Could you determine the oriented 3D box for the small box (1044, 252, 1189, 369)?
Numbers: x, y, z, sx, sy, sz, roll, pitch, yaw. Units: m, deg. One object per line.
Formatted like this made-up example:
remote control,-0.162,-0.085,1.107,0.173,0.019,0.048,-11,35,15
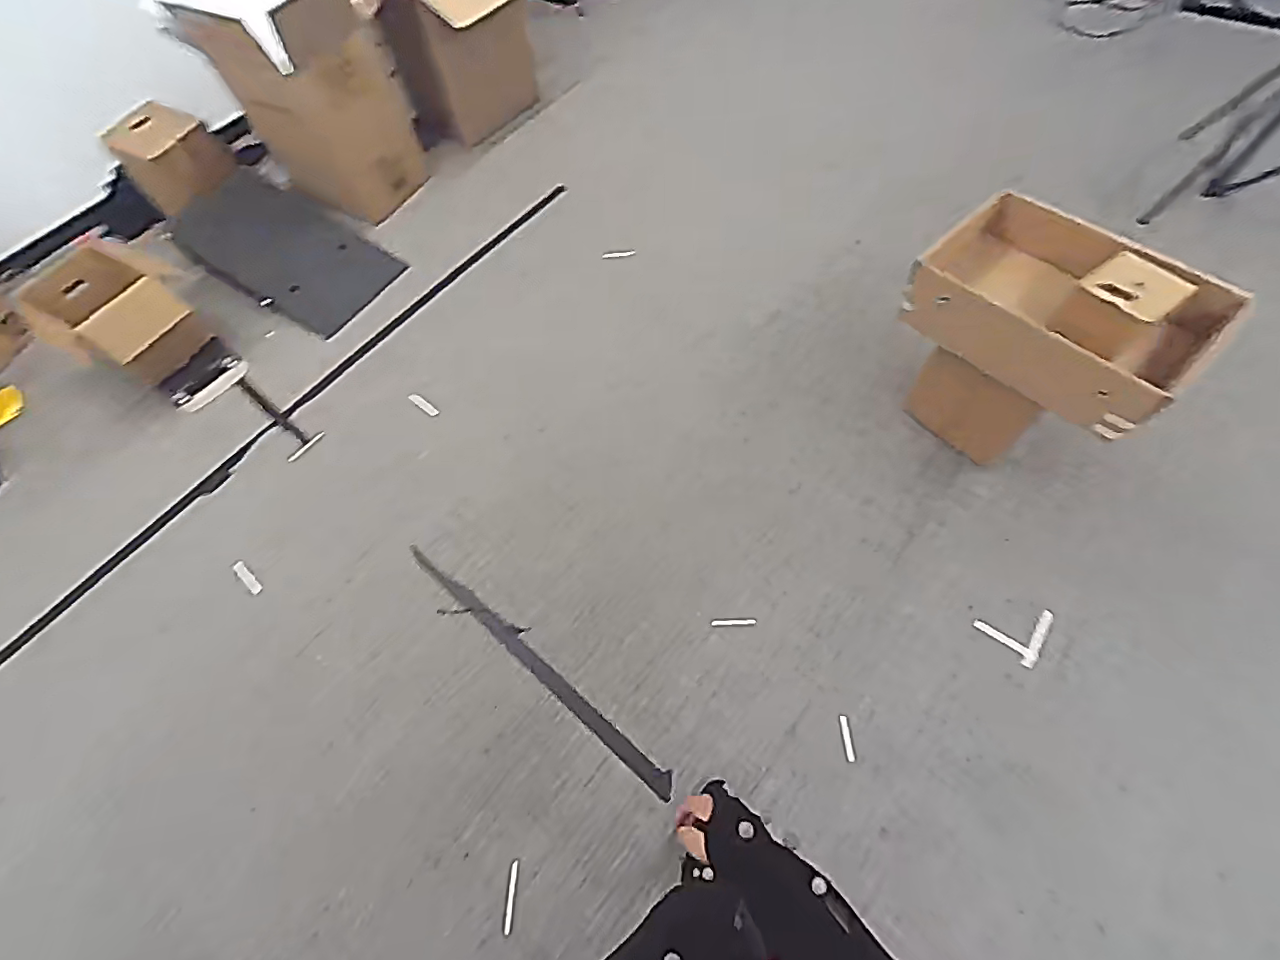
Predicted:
small box,1.117,-0.397,1.289,0.179,0.176,0.168,-33,63,-12
